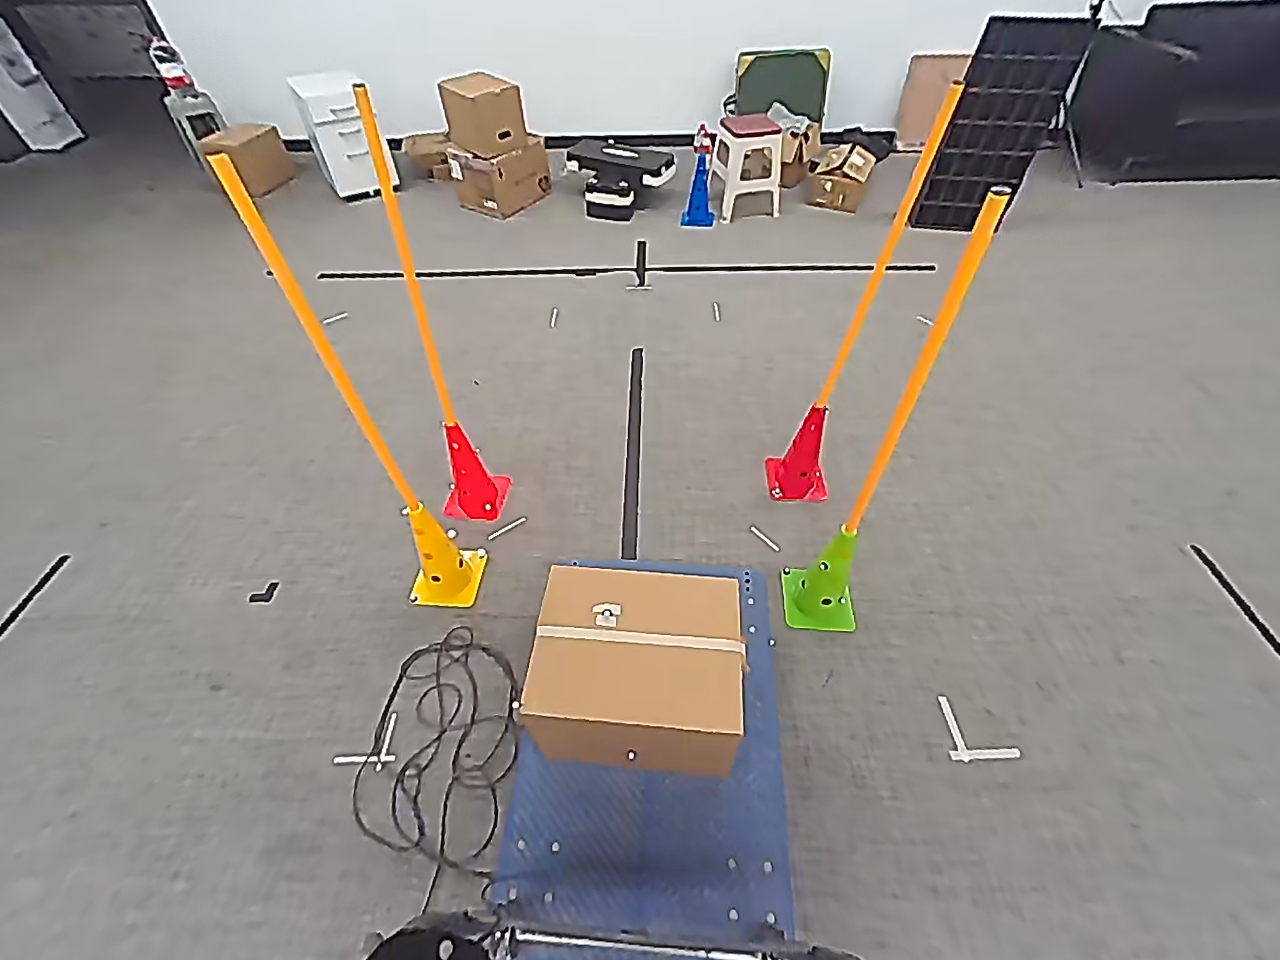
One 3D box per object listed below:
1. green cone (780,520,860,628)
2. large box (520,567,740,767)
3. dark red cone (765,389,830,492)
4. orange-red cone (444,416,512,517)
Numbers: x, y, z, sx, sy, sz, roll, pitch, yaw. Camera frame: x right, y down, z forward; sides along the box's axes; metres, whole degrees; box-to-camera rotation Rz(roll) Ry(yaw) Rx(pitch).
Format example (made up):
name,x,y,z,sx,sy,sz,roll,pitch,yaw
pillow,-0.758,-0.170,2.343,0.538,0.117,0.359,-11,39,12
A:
name,x,y,z,sx,sy,sz,roll,pitch,yaw
green cone,0.533,0.238,1.508,0.202,0.368,0.200,4,49,2
large box,-0.004,0.410,1.175,0.408,0.320,0.320,4,49,5
dark red cone,0.562,-0.139,1.812,0.201,0.394,0.202,2,50,-1
orange-red cone,-0.570,-0.069,1.787,0.198,0.360,0.199,7,48,5
